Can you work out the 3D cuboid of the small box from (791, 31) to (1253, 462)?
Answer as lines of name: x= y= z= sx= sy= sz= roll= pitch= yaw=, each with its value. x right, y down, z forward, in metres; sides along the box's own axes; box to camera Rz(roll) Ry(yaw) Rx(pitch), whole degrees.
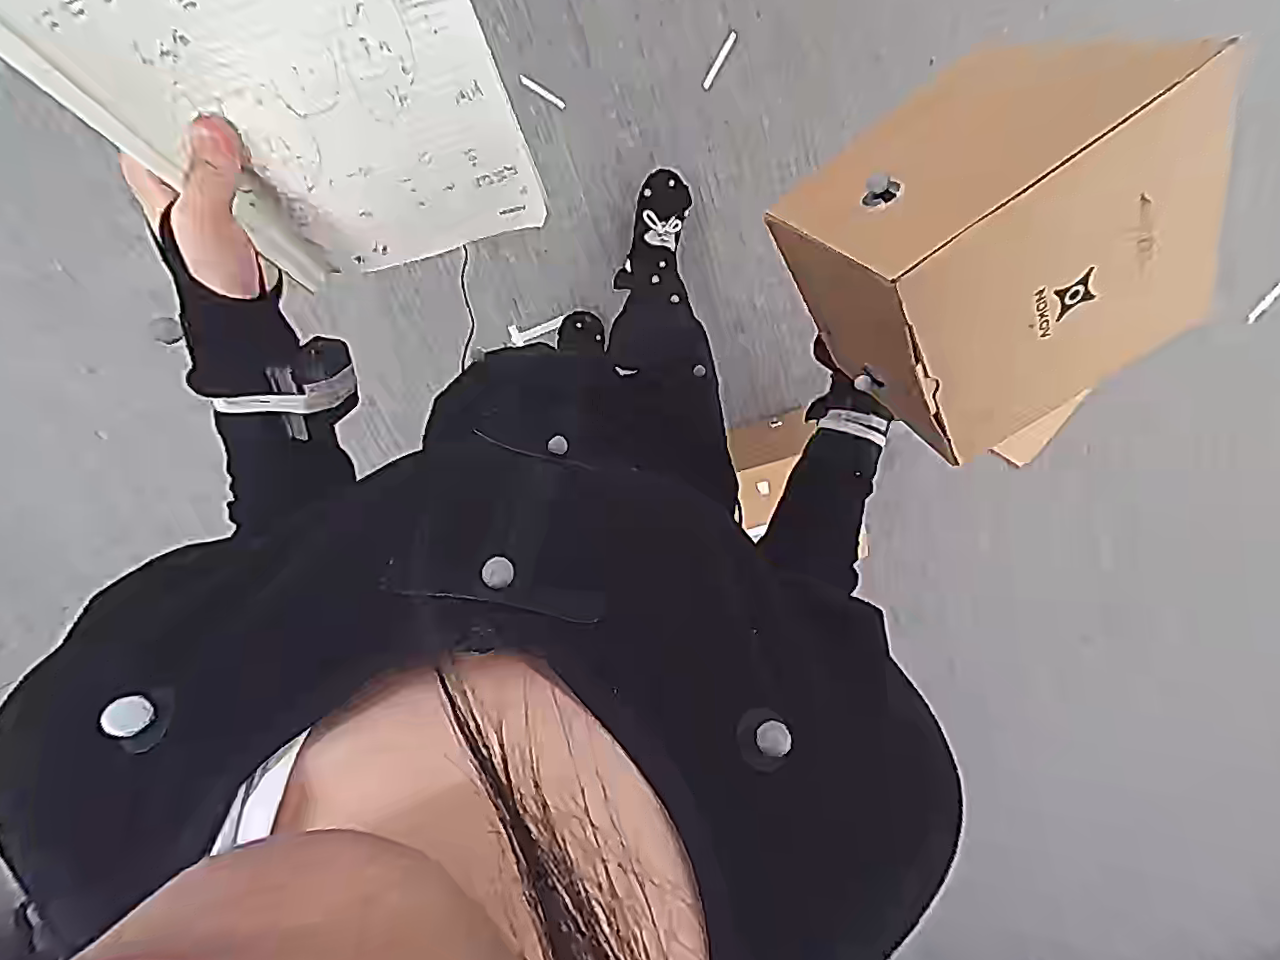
small box: x=0.225 y=-0.152 z=0.365 sx=0.179 sy=0.176 sz=0.168 roll=-36 pitch=129 yaw=12
